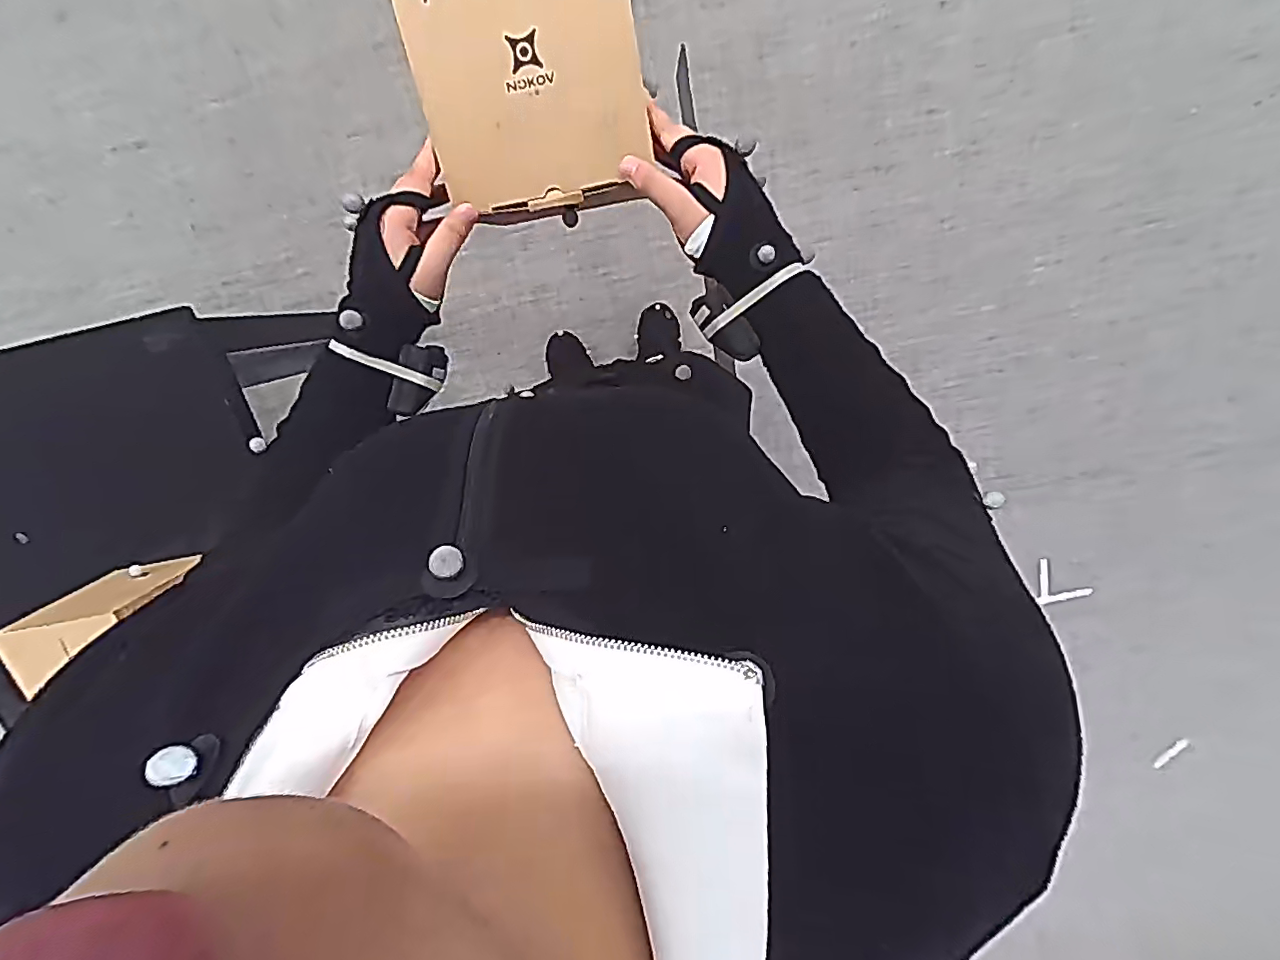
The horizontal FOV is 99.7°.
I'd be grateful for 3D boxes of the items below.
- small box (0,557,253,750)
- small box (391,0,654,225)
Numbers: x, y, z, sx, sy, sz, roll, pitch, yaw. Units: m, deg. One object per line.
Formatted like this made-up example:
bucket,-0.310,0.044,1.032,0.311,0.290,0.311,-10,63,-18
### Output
small box,-0.681,0.227,0.736,0.168,0.176,0.179,-11,107,3
small box,-0.080,-0.327,0.459,0.168,0.176,0.179,-9,114,4
